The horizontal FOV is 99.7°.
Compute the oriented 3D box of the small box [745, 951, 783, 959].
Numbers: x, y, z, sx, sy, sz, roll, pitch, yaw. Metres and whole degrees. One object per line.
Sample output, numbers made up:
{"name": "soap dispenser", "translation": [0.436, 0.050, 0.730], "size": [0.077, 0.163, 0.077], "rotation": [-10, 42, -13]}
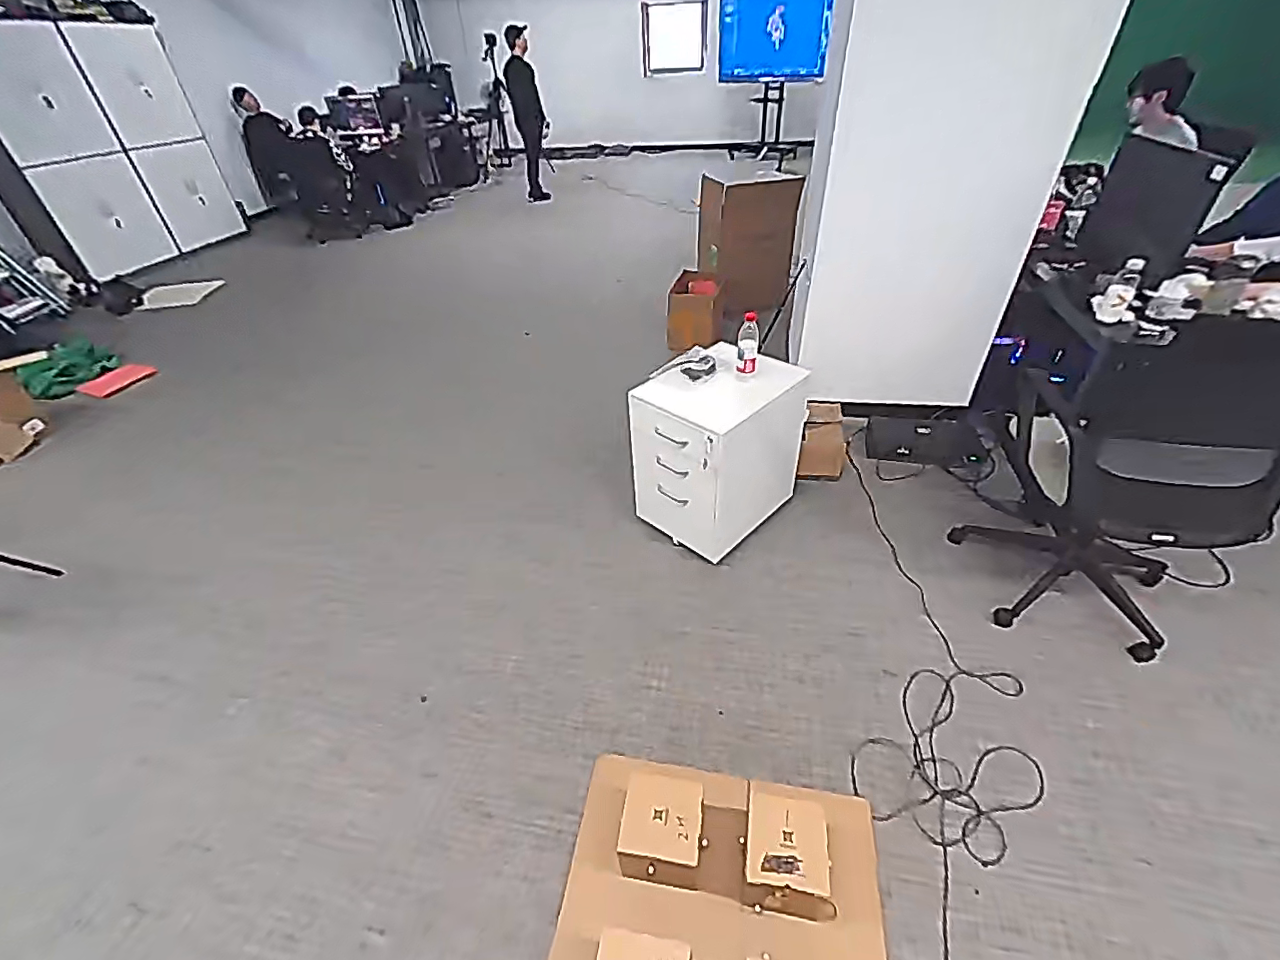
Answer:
{"name": "small box", "translation": [0.271, 1.001, 0.986], "size": [0.179, 0.176, 0.168], "rotation": [3, 40, 13]}
